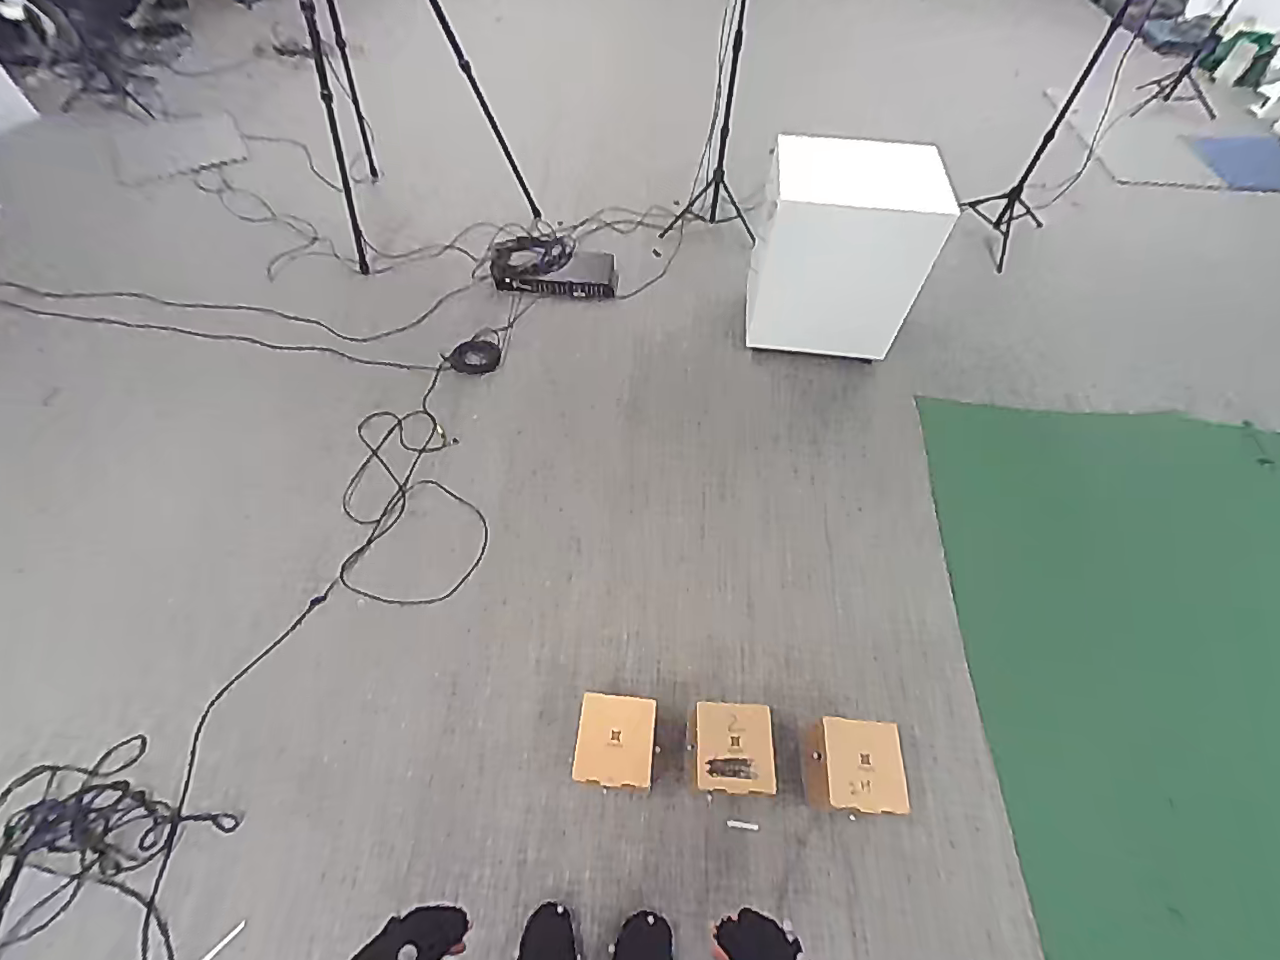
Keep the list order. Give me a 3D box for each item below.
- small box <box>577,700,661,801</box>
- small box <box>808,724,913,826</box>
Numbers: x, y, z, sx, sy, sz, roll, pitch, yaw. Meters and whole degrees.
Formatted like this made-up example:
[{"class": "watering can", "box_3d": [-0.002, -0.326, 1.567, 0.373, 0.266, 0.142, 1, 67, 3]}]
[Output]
[{"class": "small box", "box_3d": [-0.044, 0.621, 1.237, 0.168, 0.176, 0.179, 5, 56, 3]}, {"class": "small box", "box_3d": [0.484, 0.665, 1.216, 0.168, 0.176, 0.179, 5, 56, 3]}]
